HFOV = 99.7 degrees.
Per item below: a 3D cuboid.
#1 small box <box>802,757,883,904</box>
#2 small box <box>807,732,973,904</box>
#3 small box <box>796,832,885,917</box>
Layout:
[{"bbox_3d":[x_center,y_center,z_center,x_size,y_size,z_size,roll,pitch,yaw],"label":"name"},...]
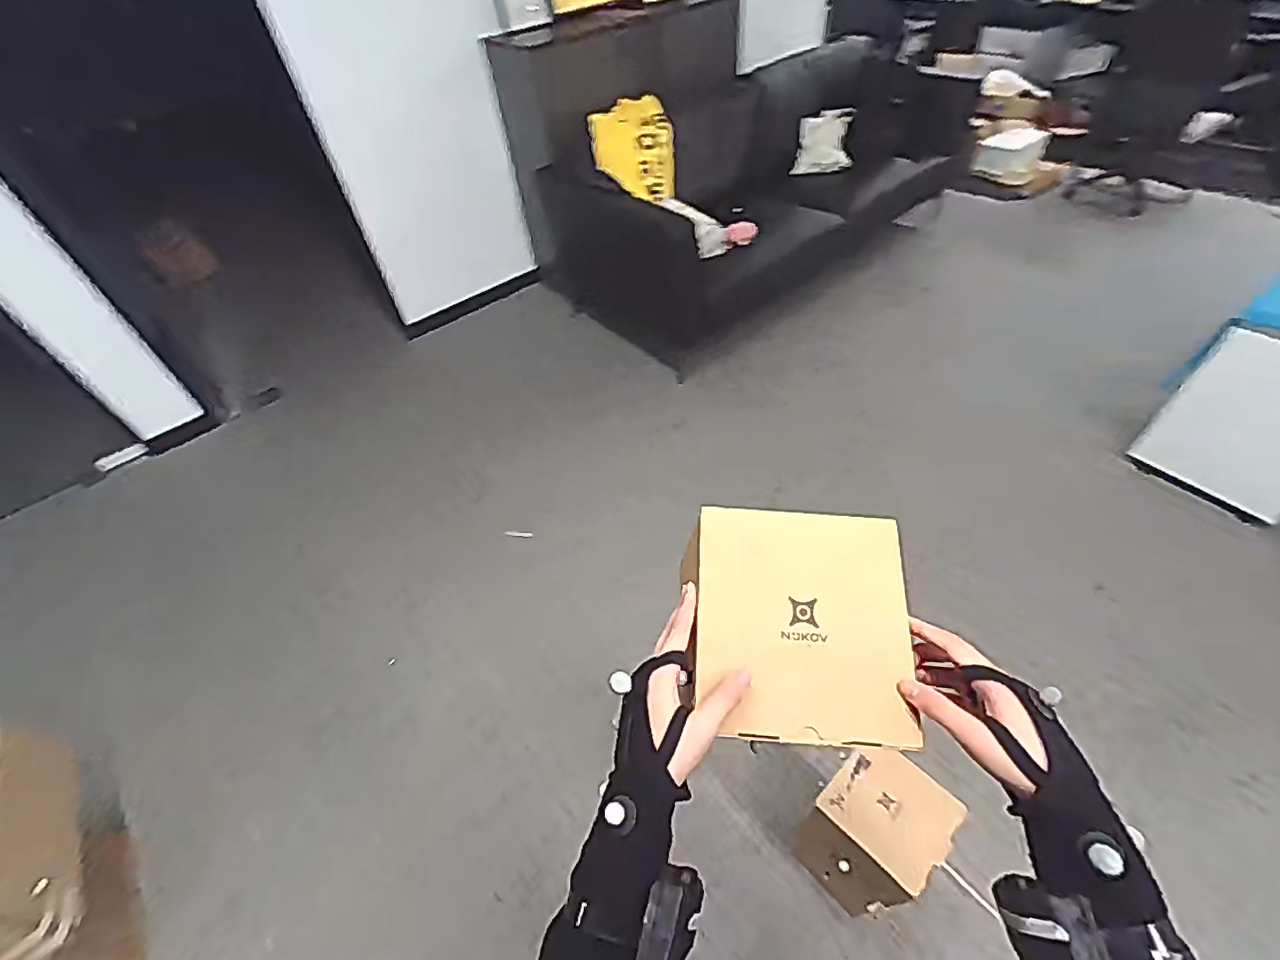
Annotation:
[{"bbox_3d":[0.433,0.672,1.041,0.168,0.176,0.179,-36,53,-21],"label":"small box"},{"bbox_3d":[0.409,0.571,0.913,0.168,0.176,0.179,-36,54,-24],"label":"small box"},{"bbox_3d":[0.455,0.787,1.155,0.168,0.176,0.179,-35,53,-23],"label":"small box"}]
